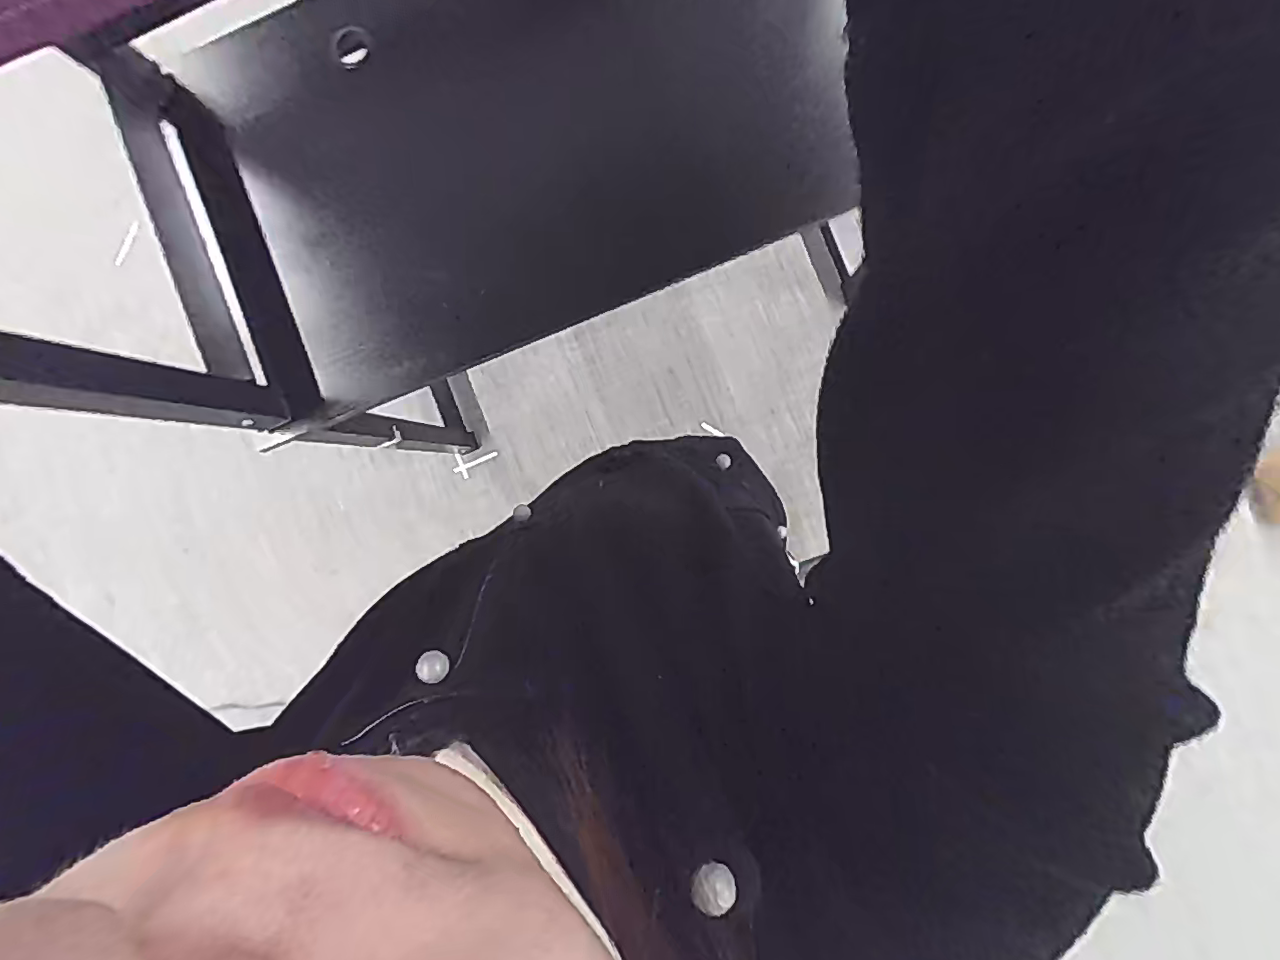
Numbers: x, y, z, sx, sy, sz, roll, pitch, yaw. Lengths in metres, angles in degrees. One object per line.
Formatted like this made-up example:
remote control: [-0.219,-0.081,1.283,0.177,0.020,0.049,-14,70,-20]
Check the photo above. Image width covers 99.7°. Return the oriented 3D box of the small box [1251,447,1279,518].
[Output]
small box: [1.627,0.002,1.272,0.168,0.176,0.179,-20,90,5]
